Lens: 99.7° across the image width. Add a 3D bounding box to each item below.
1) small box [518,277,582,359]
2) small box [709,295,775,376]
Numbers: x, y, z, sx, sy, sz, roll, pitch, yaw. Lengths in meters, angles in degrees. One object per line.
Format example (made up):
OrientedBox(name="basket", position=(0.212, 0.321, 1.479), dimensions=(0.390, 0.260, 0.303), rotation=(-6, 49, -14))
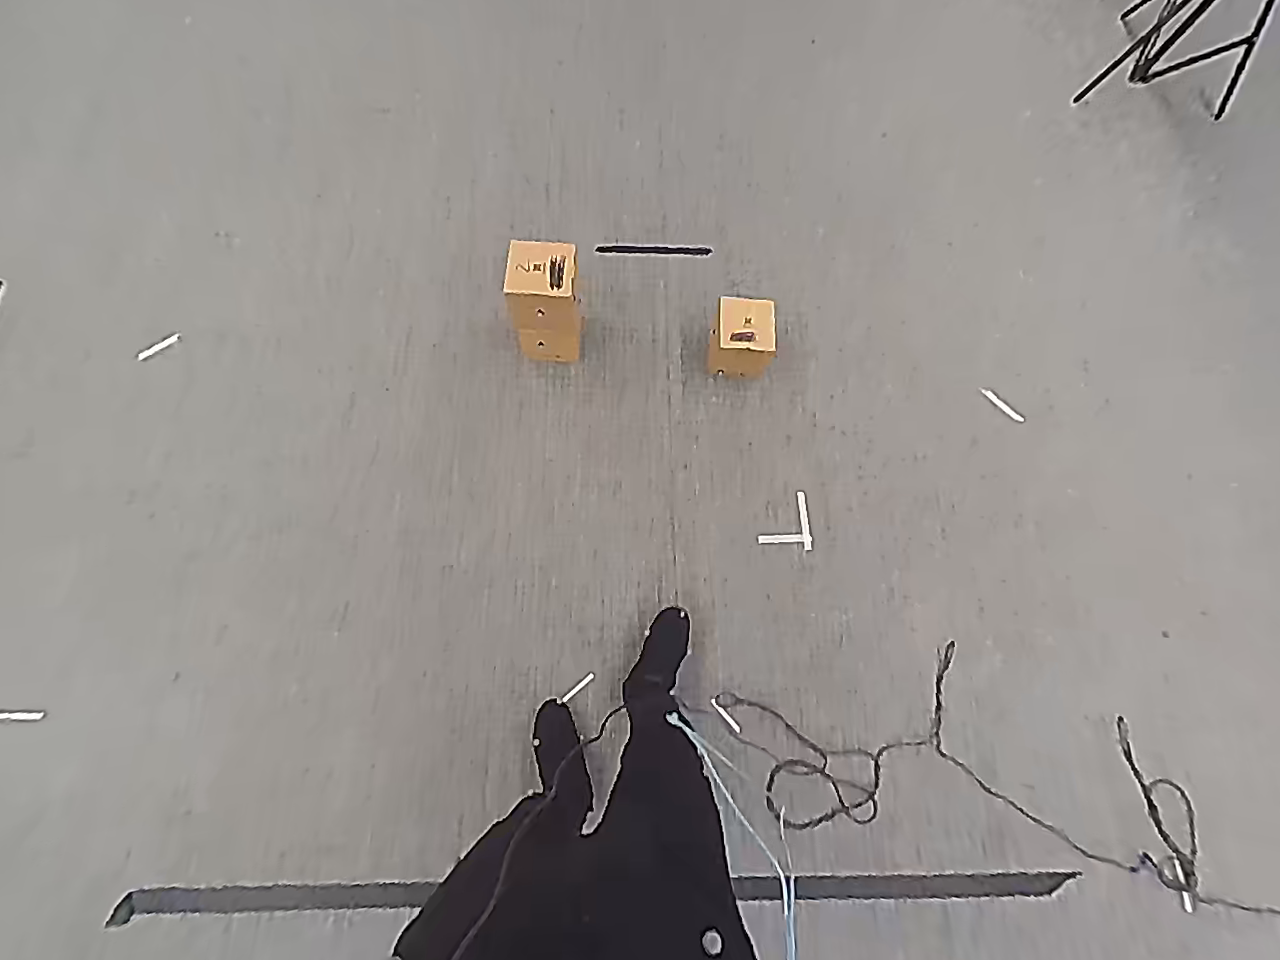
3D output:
OrientedBox(name="small box", position=(-0.264, -0.479, 1.623), dimensions=(0.168, 0.176, 0.179), rotation=(2, 72, -3))
OrientedBox(name="small box", position=(0.308, -0.435, 1.646), dimensions=(0.168, 0.176, 0.179), rotation=(4, 72, -3))
